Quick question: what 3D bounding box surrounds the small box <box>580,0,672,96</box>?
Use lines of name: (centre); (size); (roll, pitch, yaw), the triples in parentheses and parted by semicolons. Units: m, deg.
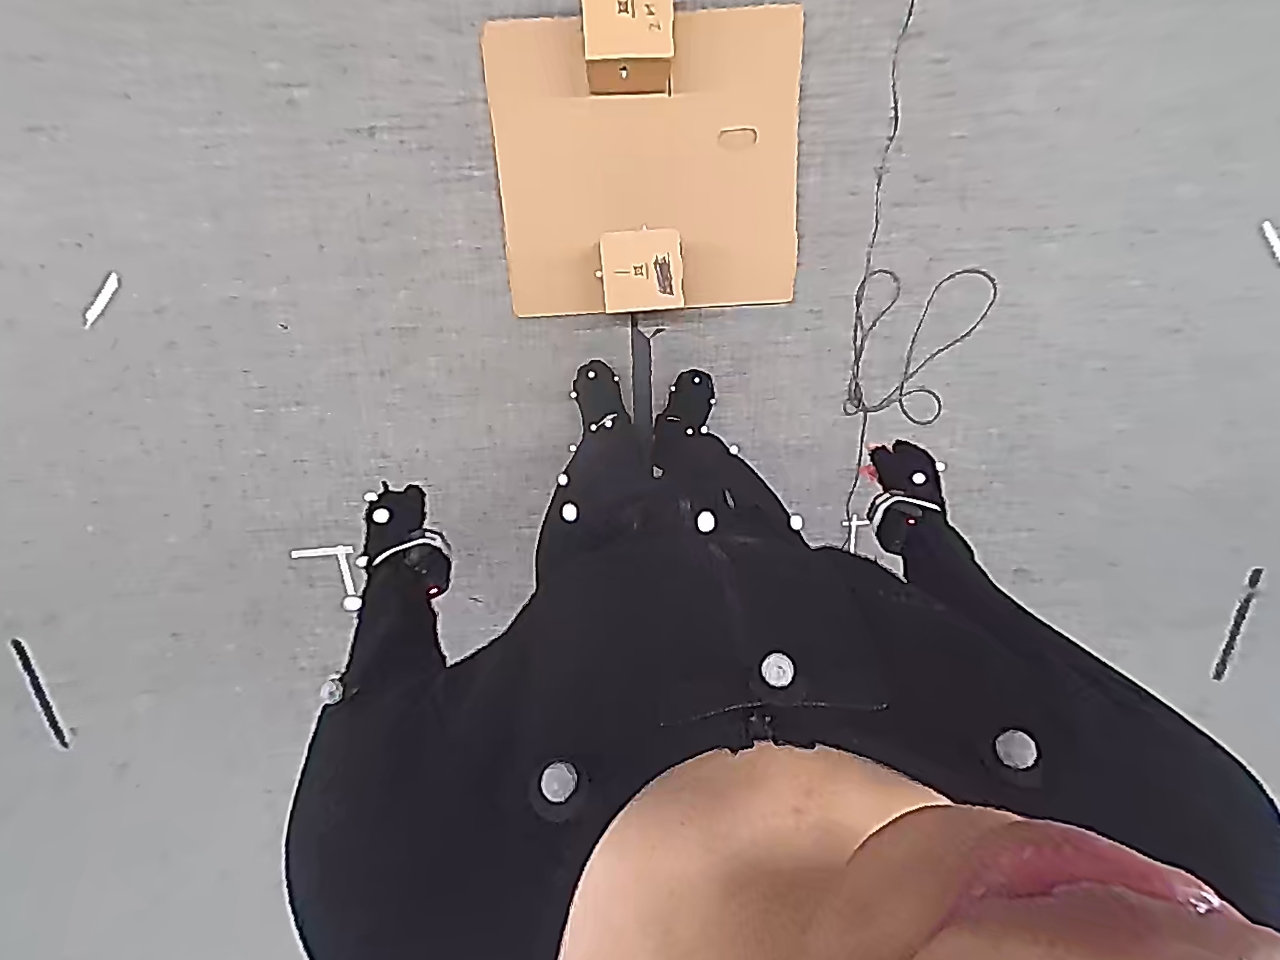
small box: (-0.028, -0.913, 1.110); (0.179, 0.176, 0.168); (-3, 107, -2)

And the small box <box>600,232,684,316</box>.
small box: (0.002, -0.473, 1.250); (0.179, 0.176, 0.168); (-5, 108, -1)
